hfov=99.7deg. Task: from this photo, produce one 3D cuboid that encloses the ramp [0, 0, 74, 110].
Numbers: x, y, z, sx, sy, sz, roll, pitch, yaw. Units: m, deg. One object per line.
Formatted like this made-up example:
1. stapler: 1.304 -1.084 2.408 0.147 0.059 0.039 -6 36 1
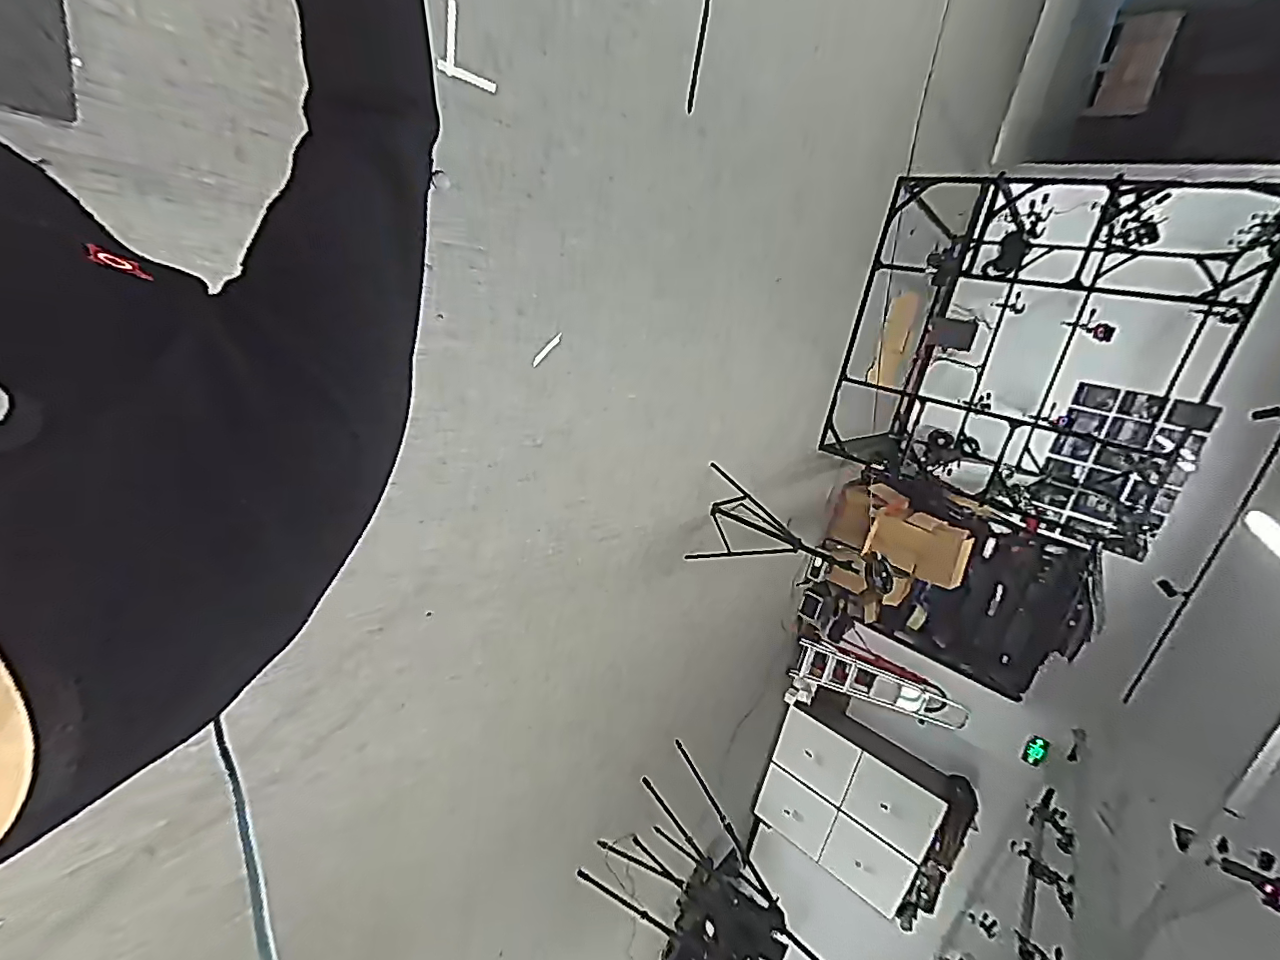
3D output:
1. ramp: -0.993 -1.032 0.559 0.509 0.206 0.991 -16 122 -49
